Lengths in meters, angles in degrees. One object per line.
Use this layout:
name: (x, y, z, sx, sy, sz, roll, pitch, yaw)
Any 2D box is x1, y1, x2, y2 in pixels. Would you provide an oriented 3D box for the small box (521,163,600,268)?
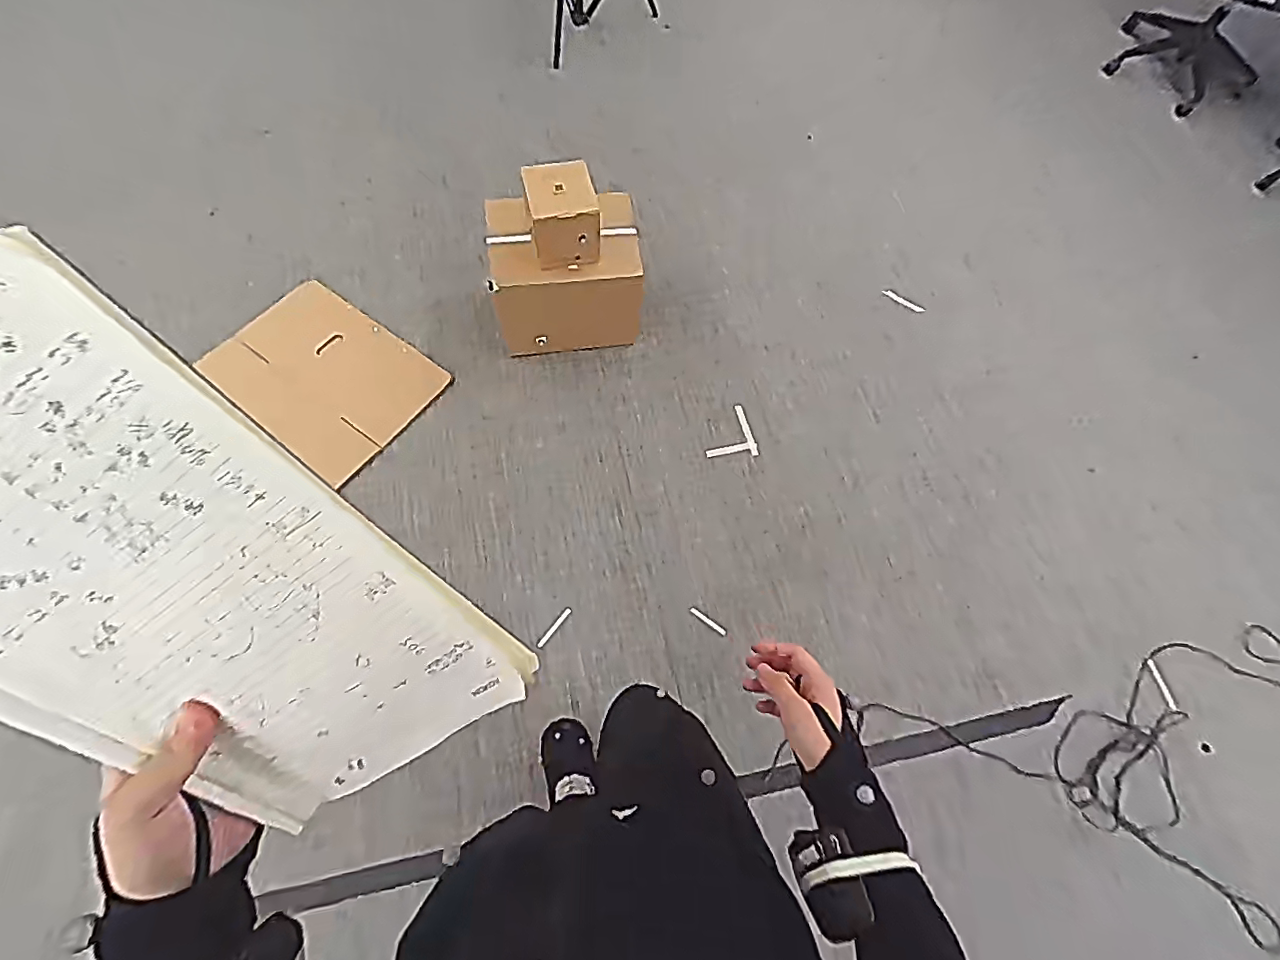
small box: (-0.199, -0.664, 1.377, 0.168, 0.176, 0.179, -13, 69, -11)
